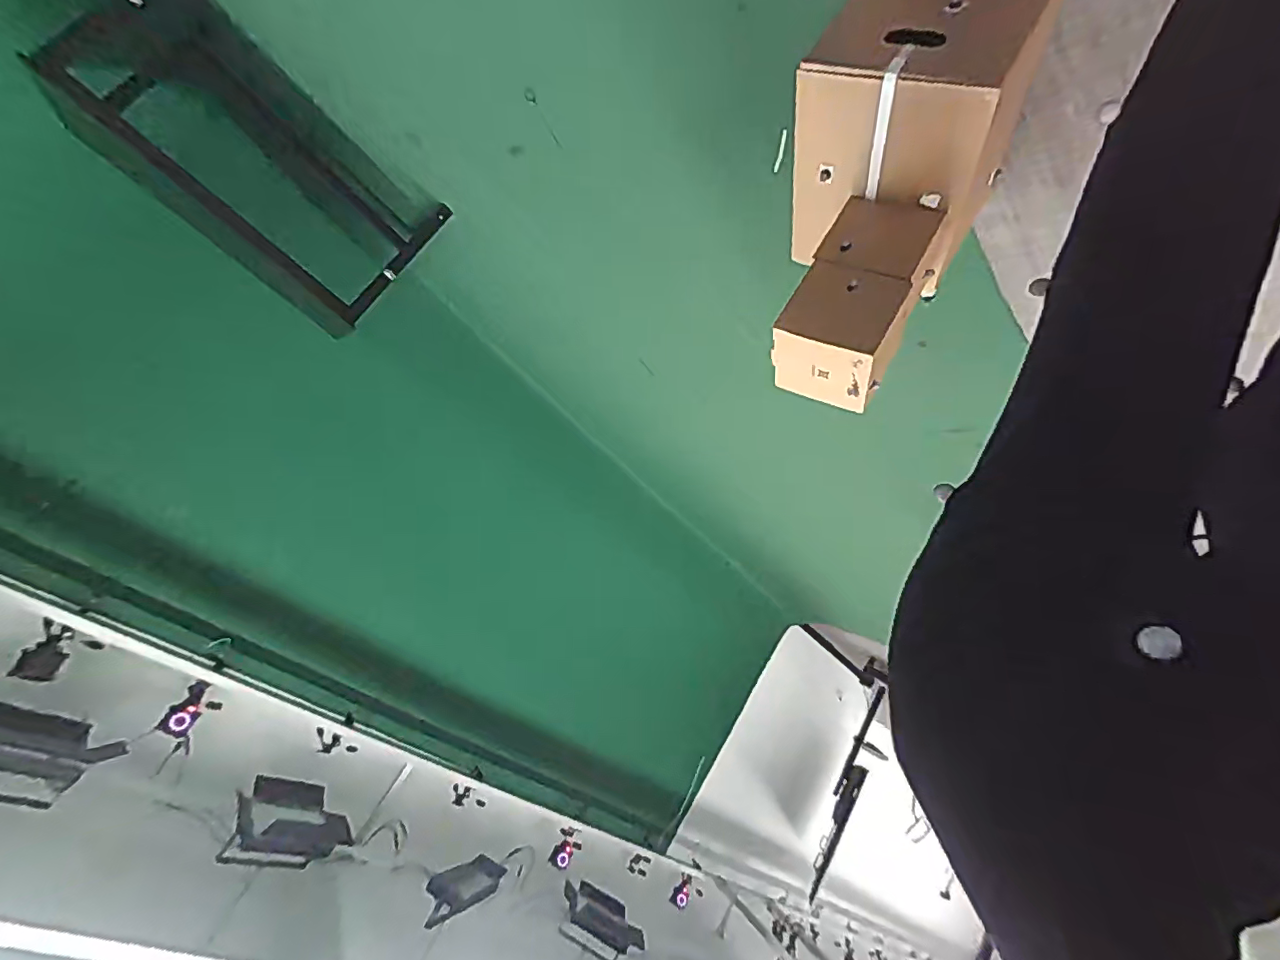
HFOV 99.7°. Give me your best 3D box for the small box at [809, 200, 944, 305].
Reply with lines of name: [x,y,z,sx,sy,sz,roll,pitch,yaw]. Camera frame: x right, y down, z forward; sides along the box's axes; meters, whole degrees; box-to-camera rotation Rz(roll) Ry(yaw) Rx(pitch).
small box: [0.435,-0.393,1.017,0.179,0.176,0.168,25,163,24]

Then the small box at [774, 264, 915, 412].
small box: [0.358,-0.257,0.969,0.179,0.176,0.168,26,163,25]
